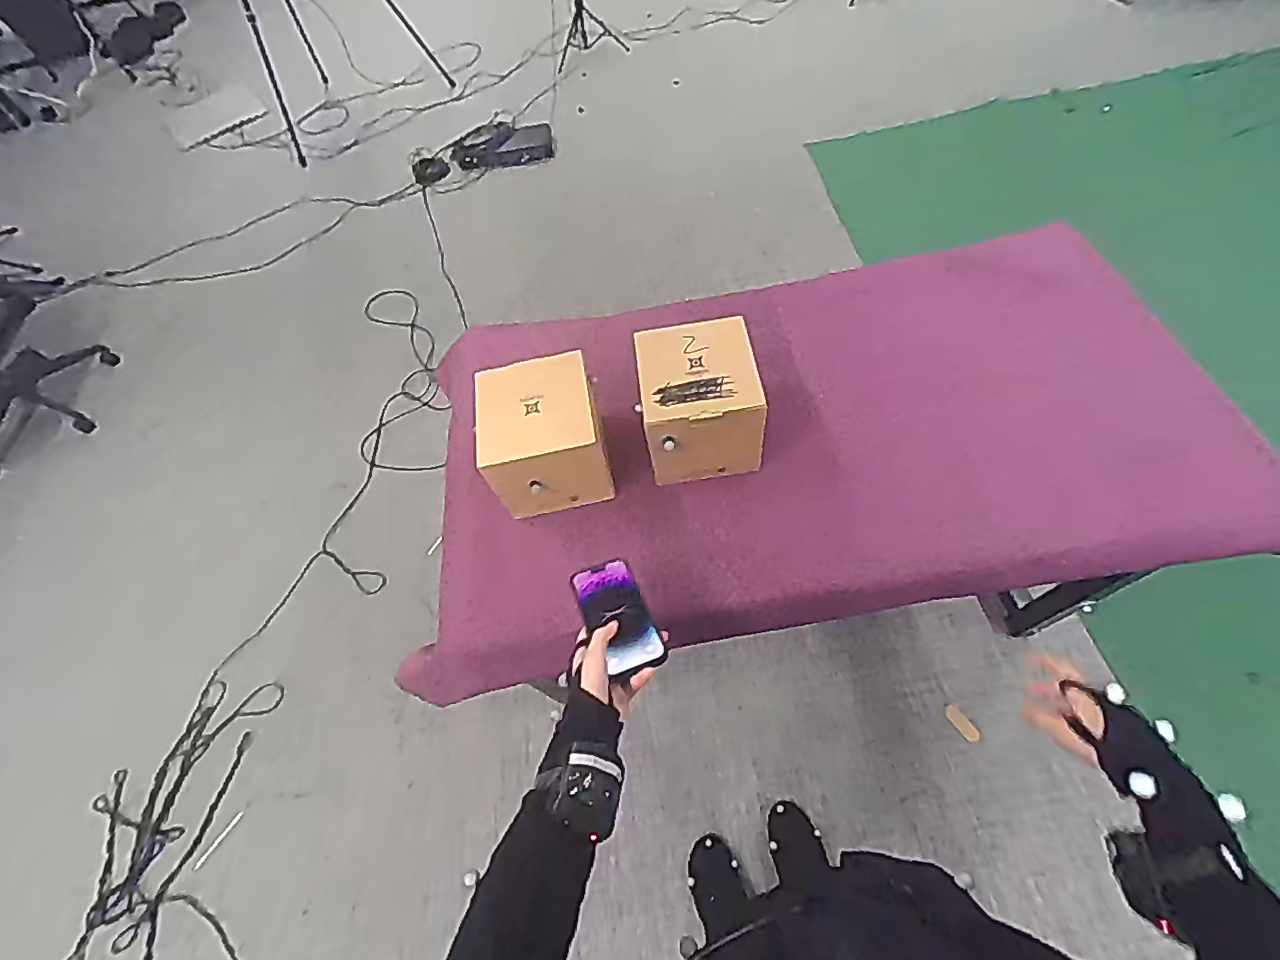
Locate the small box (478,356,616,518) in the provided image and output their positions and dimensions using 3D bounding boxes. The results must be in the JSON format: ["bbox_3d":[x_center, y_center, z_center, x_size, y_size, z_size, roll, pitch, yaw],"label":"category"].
[{"bbox_3d":[-0.139,-0.056,0.832,0.168,0.176,0.179,-13,57,1],"label":"small box"}]
